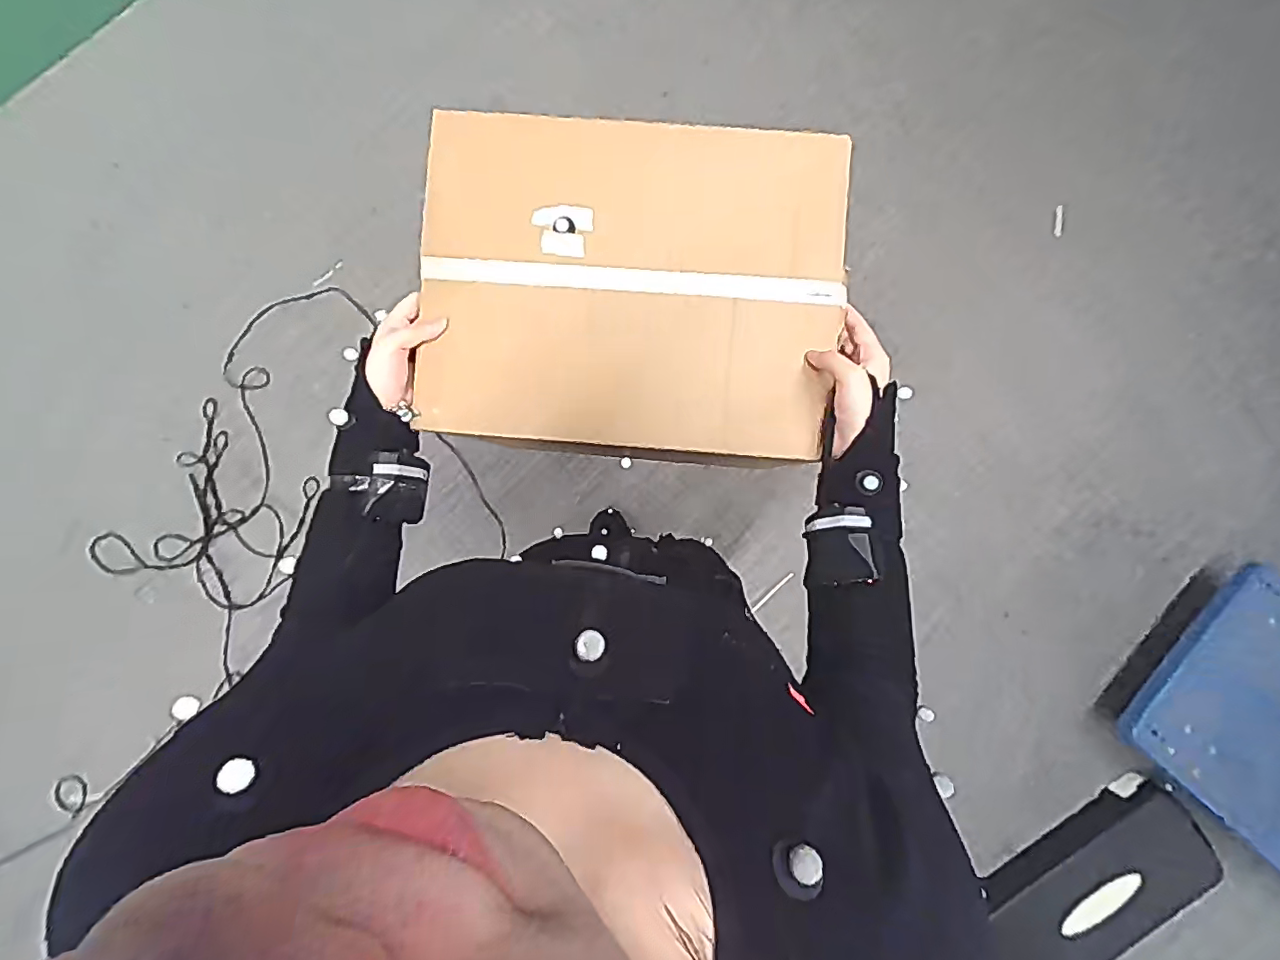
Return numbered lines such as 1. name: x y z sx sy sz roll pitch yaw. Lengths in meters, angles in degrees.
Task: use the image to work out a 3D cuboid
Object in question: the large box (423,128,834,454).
1. large box: -0.006 -0.194 0.683 0.408 0.320 0.320 4 90 3
